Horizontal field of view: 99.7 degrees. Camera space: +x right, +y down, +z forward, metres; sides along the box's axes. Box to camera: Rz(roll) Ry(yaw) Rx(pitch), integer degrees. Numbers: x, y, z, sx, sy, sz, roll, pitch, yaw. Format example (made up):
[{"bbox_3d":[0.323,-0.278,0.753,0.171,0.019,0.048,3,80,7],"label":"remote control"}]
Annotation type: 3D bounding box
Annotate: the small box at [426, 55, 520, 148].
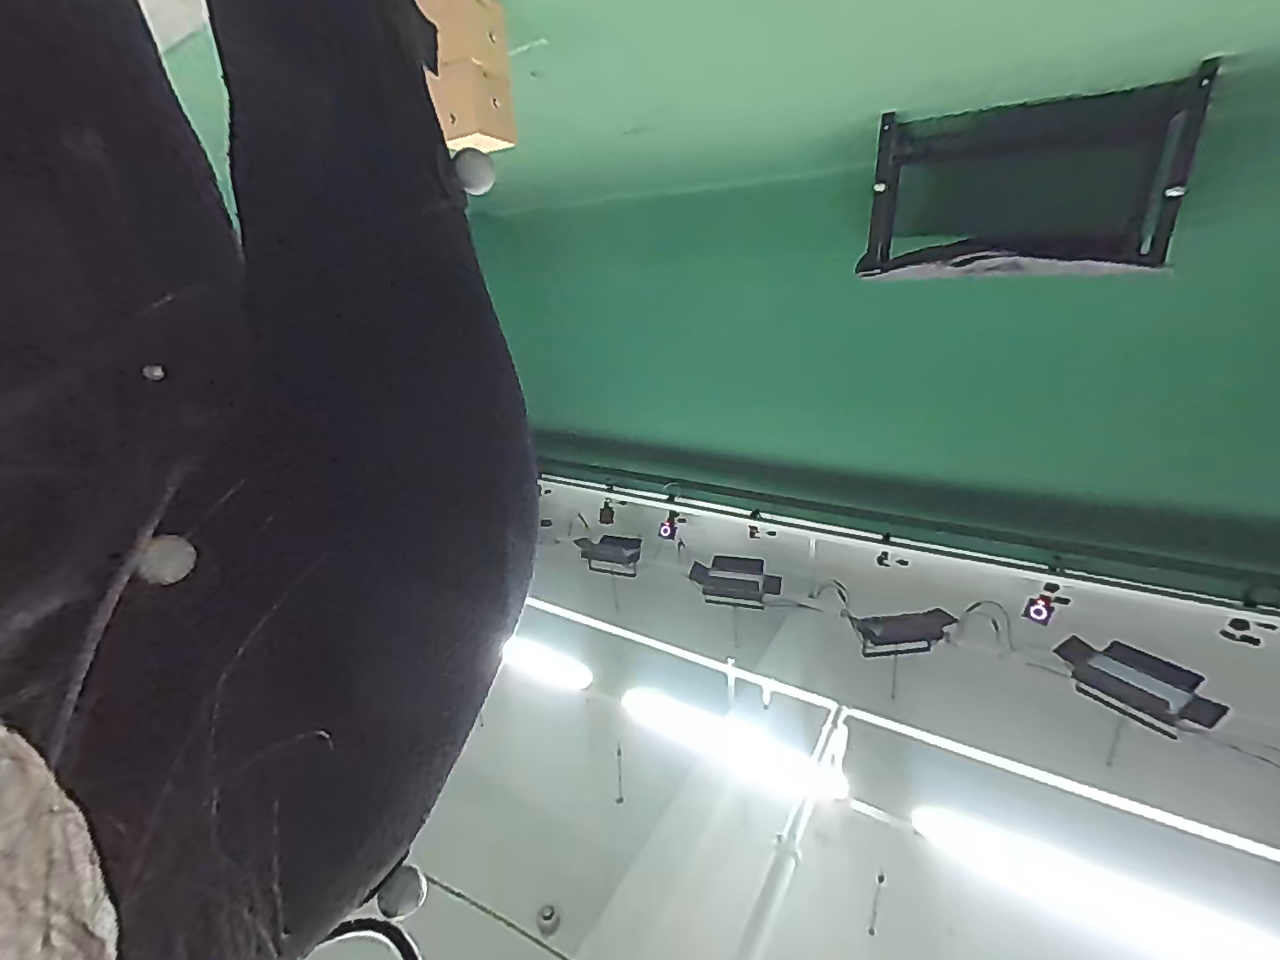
[{"bbox_3d":[-0.459,-1.033,1.483,0.179,0.176,0.168,8,-157,26],"label":"small box"}]
